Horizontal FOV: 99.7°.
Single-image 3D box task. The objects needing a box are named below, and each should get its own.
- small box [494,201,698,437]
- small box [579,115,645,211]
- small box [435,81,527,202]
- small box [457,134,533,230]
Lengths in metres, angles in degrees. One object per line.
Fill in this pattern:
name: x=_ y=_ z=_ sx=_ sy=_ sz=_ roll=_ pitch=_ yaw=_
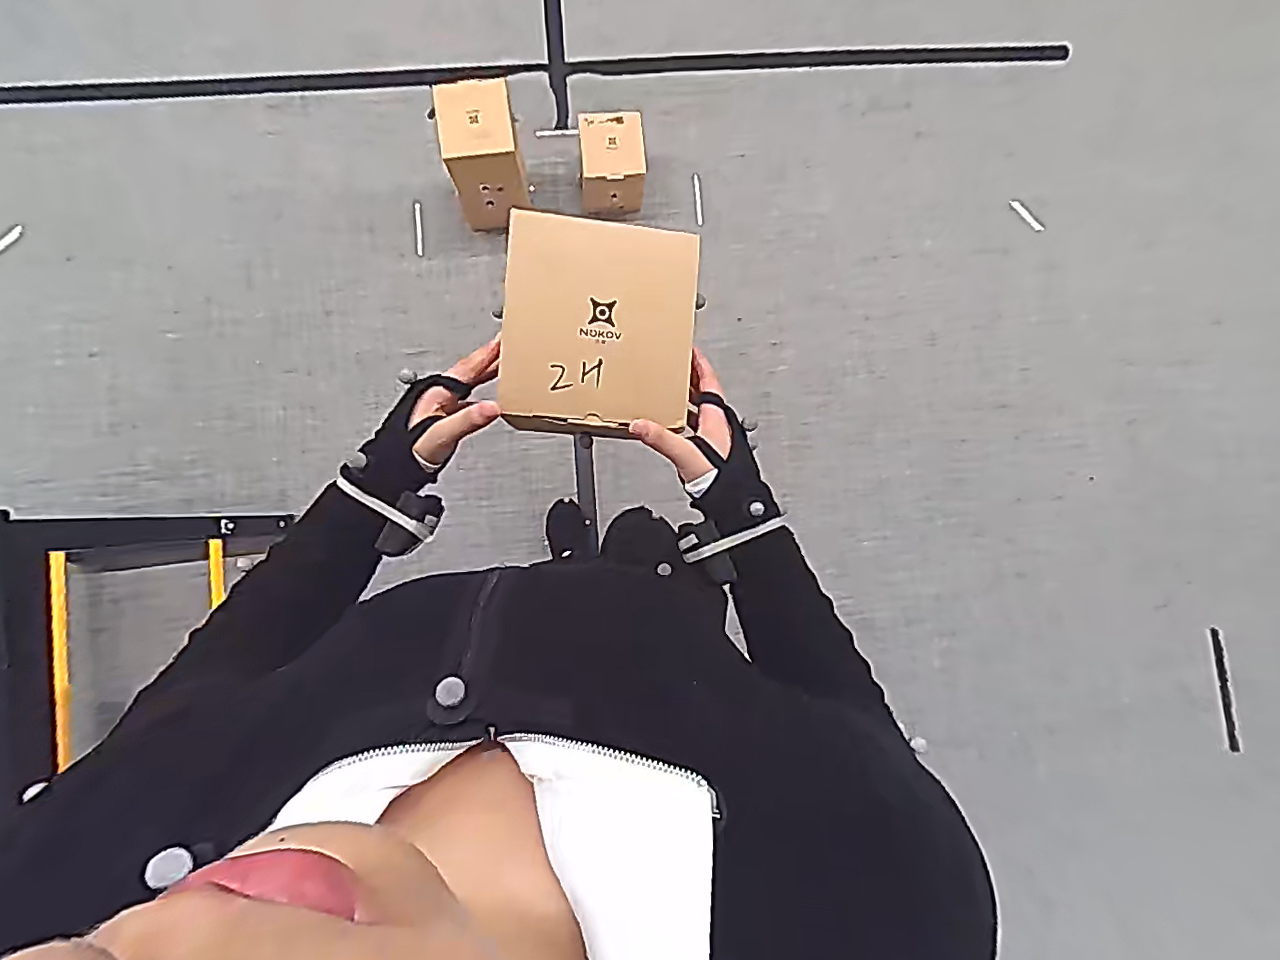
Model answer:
small box: x=-0.046 y=-0.143 z=0.544 sx=0.168 sy=0.176 sz=0.179 roll=5 pitch=90 yaw=-7
small box: x=-0.077 y=-0.862 z=1.488 sx=0.168 sy=0.176 sz=0.179 roll=-5 pitch=87 yaw=-4
small box: x=-0.375 y=-0.806 z=1.299 sx=0.168 sy=0.176 sz=0.179 roll=-9 pitch=88 yaw=-3
small box: x=-0.390 y=-0.798 z=1.461 sx=0.179 sy=0.176 sz=0.168 roll=-7 pitch=87 yaw=-5
